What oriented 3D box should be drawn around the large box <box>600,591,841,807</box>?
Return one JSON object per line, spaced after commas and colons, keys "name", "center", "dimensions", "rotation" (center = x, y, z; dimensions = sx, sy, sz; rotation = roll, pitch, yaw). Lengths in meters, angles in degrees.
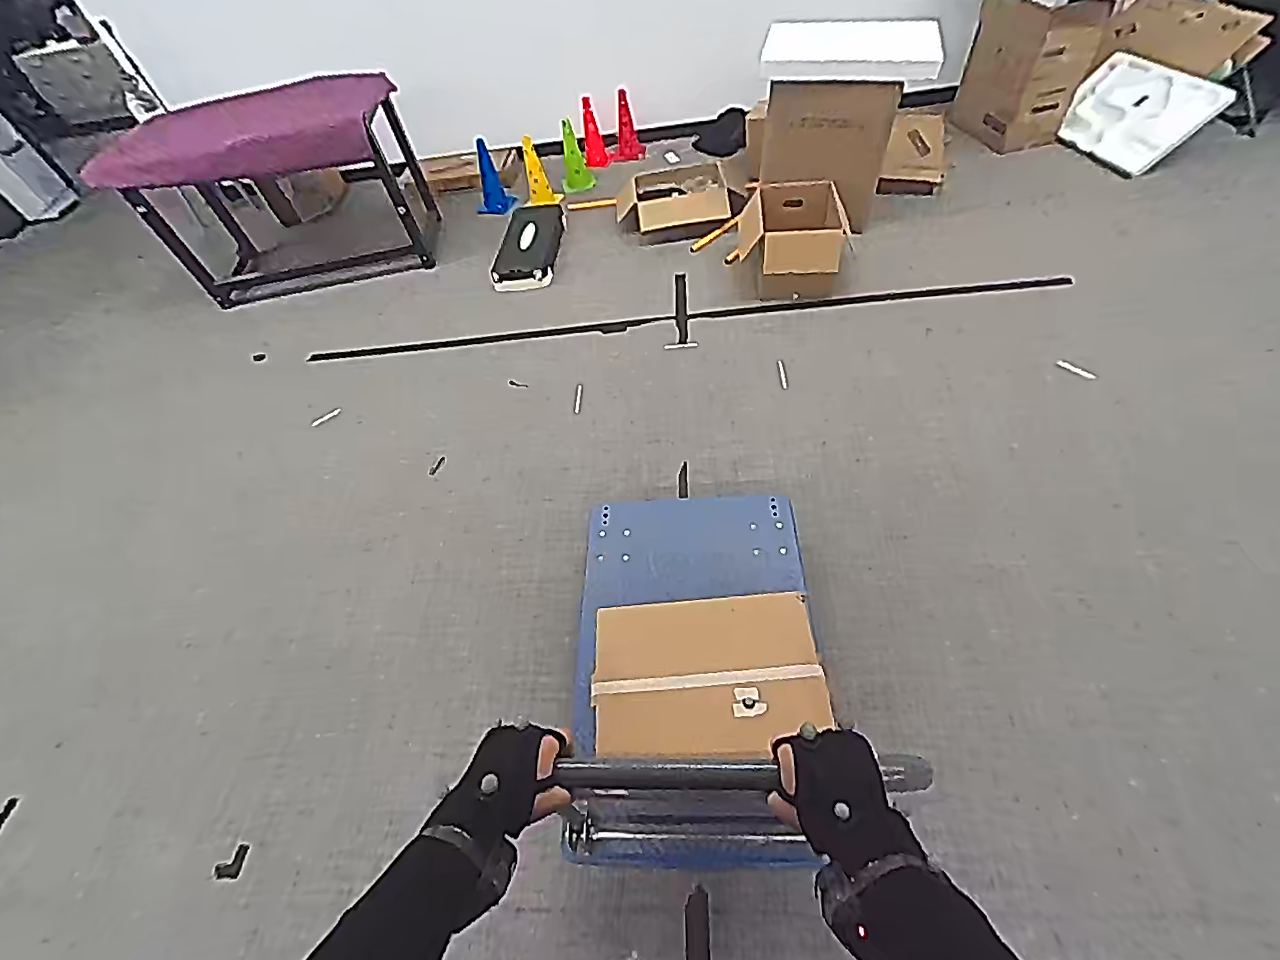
{"name": "large box", "center": [0.140, 0.452, 1.100], "dimensions": [0.408, 0.320, 0.320], "rotation": [-6, 53, 3]}
